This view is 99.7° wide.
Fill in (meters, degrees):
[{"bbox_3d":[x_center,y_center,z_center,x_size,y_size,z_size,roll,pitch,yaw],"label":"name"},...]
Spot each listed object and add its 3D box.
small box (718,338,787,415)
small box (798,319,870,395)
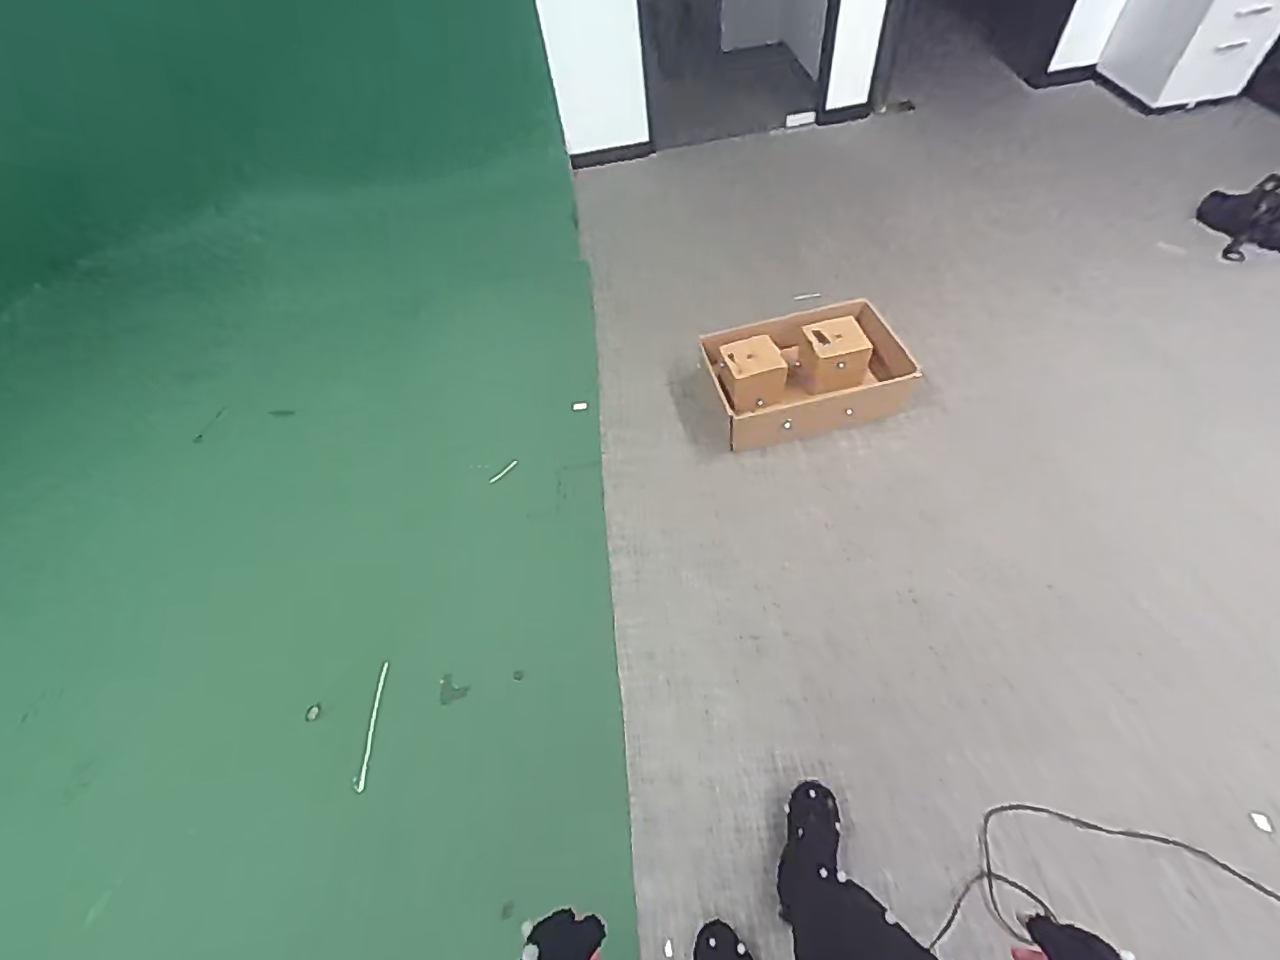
[{"bbox_3d":[0.369,-0.343,1.807,0.179,0.176,0.168,-15,53,-5],"label":"small box"},{"bbox_3d":[0.642,-0.409,1.816,0.179,0.176,0.168,-12,54,0],"label":"small box"}]
